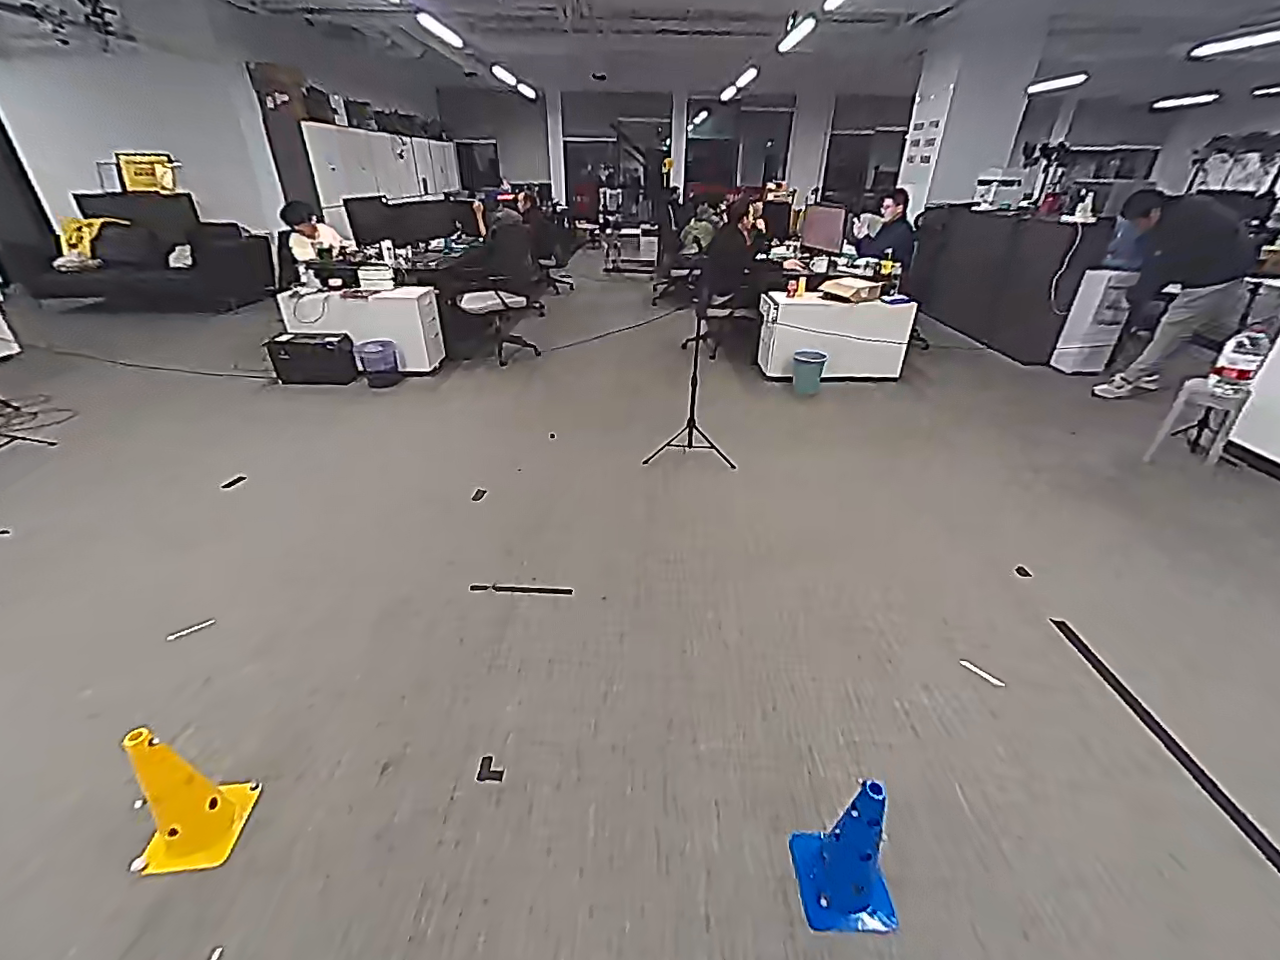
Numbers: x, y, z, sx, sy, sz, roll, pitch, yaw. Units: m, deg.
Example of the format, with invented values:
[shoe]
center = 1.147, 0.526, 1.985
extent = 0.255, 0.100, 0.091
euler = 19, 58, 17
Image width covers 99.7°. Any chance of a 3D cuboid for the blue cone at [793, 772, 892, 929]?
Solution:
[blue cone]
center = 0.462, 0.767, 1.156
extent = 0.193, 0.380, 0.192
euler = 2, 29, 1
